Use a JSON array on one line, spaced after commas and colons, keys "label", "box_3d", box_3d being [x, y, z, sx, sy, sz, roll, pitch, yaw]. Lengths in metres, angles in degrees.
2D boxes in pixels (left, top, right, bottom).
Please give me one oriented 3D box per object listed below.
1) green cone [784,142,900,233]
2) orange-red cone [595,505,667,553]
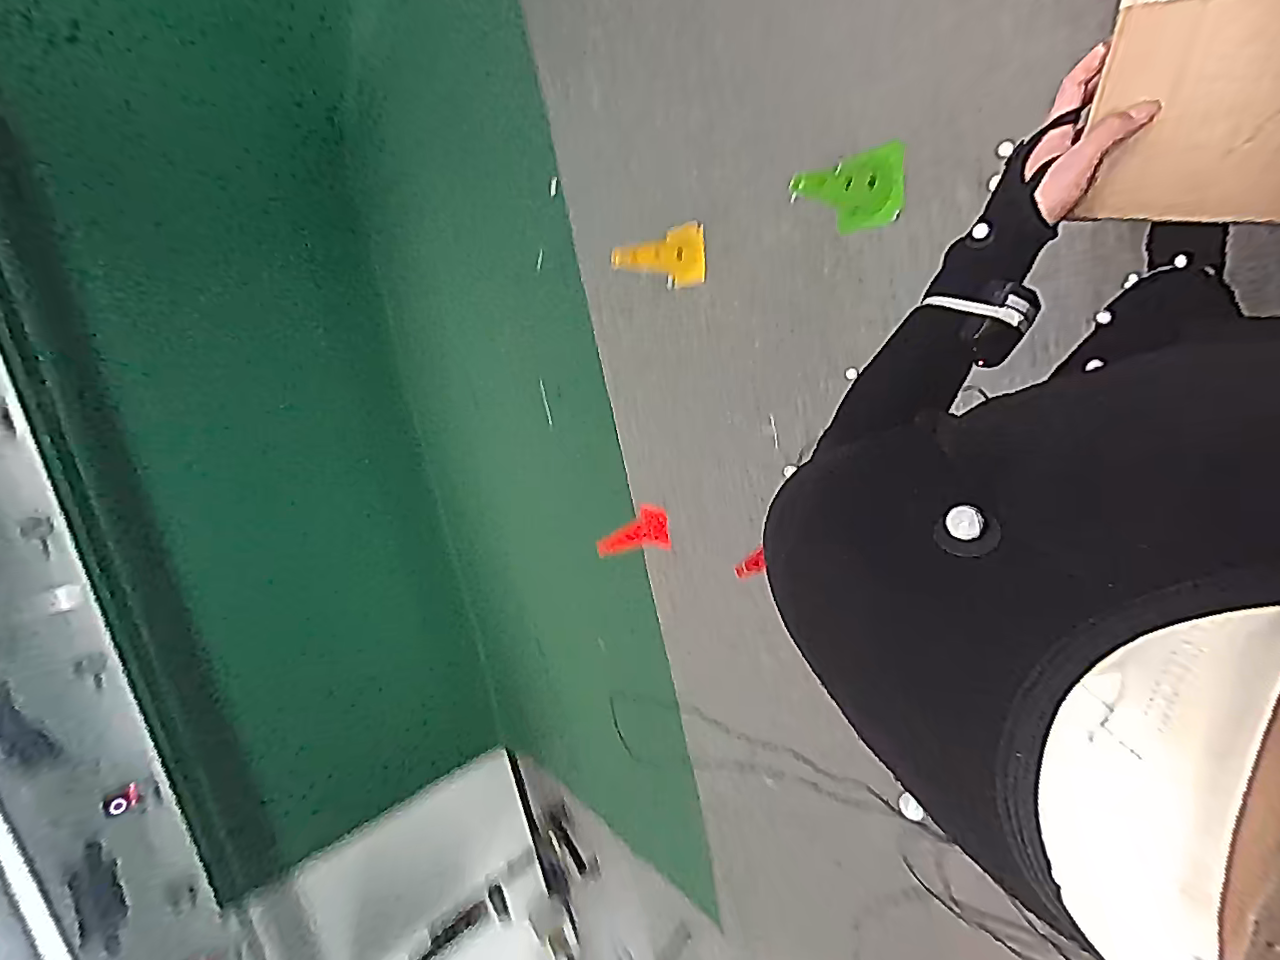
[{"label": "green cone", "box_3d": [0.517, -0.792, 1.457, 0.202, 0.368, 0.200, 9, 112, 51]}, {"label": "orange-red cone", "box_3d": [-0.067, 0.283, 2.670, 0.198, 0.360, 0.199, 12, 116, 50]}]
